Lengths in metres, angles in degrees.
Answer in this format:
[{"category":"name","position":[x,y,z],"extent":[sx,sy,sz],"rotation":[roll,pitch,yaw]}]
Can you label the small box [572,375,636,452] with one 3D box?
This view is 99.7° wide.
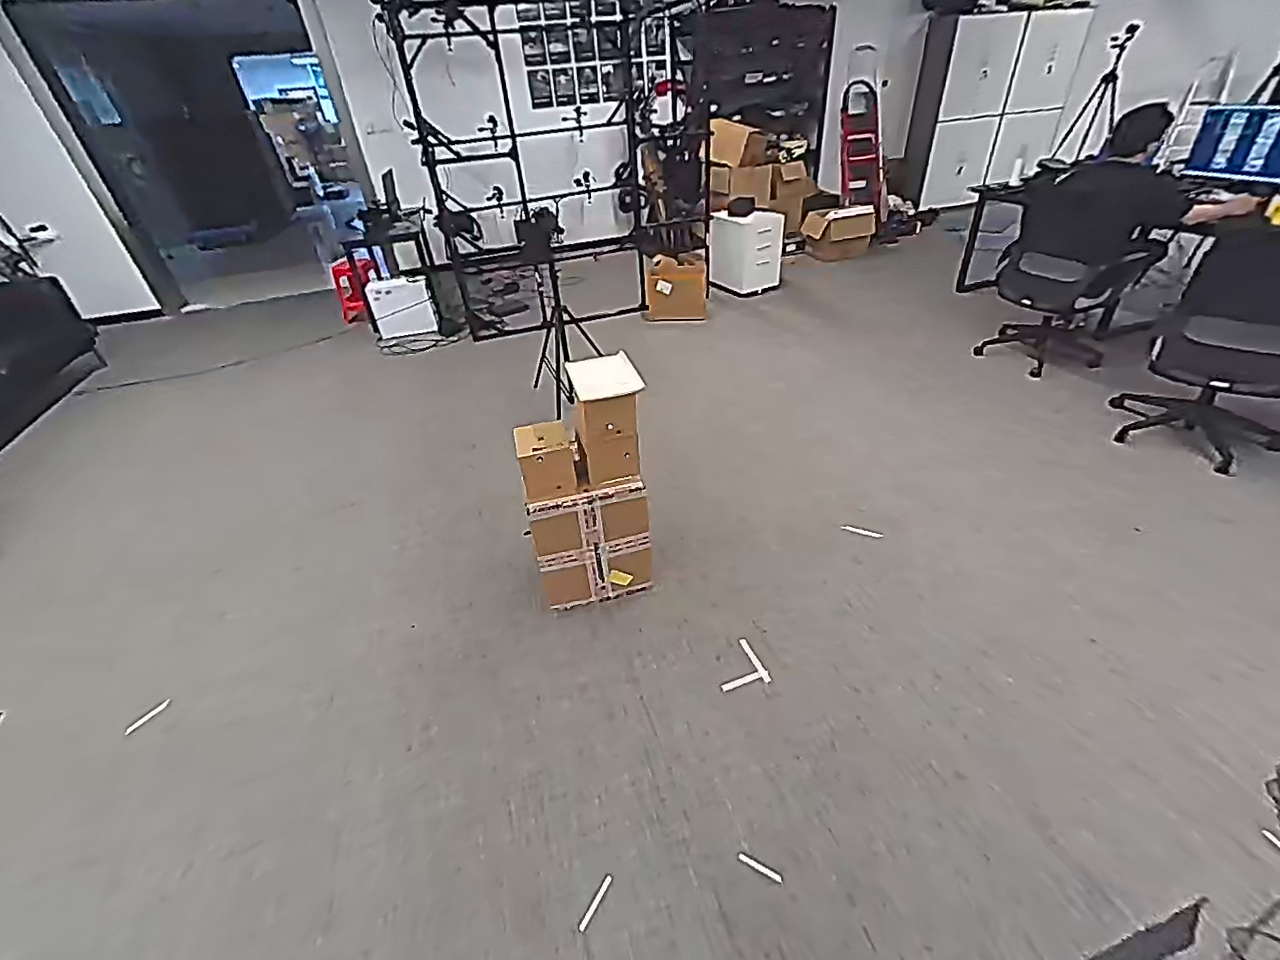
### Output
[{"category":"small box","position":[-0.115,-0.210,1.694],"extent":[0.168,0.176,0.179],"rotation":[-11,38,-12]}]
